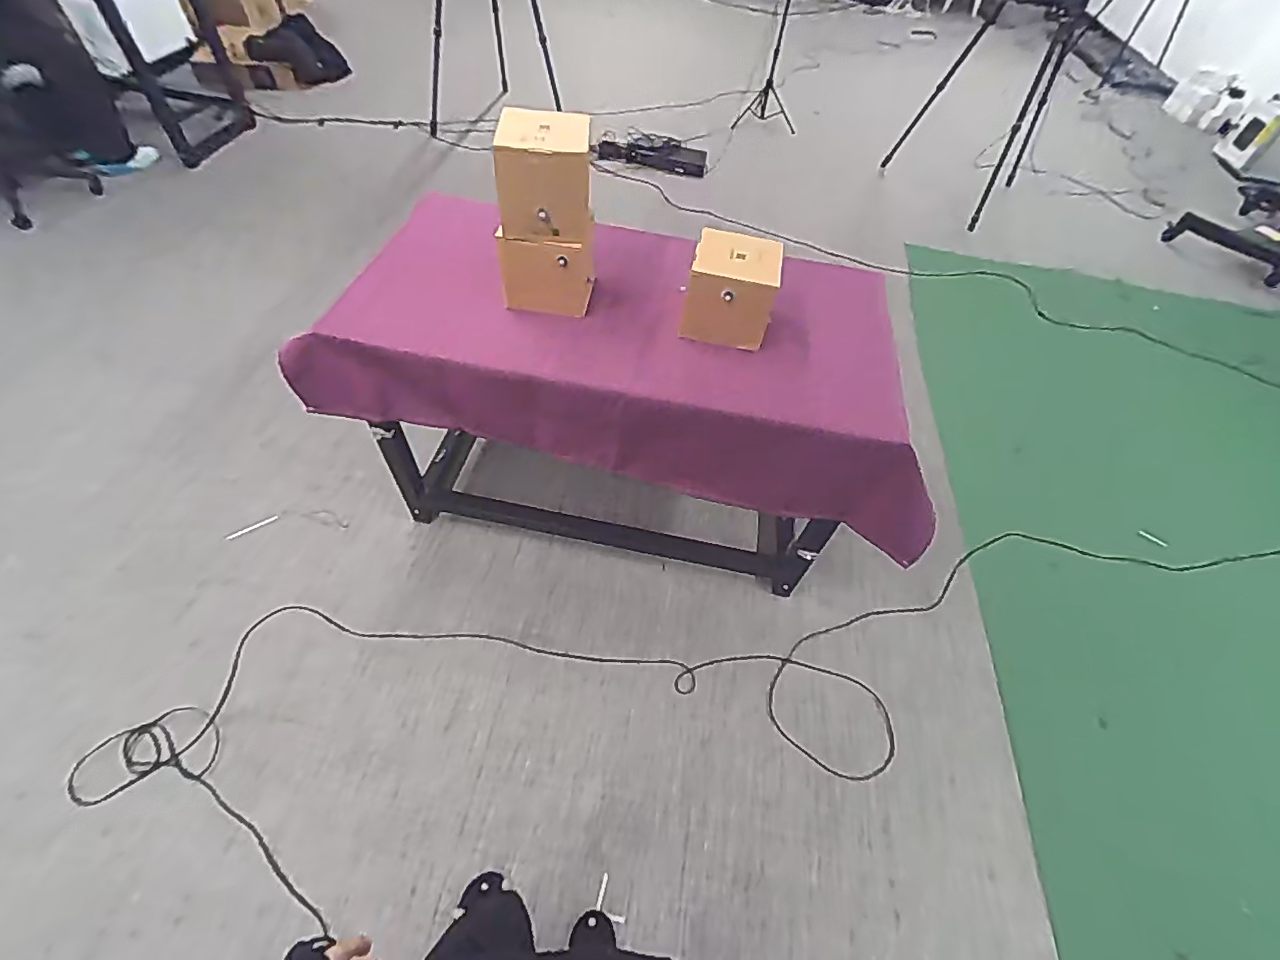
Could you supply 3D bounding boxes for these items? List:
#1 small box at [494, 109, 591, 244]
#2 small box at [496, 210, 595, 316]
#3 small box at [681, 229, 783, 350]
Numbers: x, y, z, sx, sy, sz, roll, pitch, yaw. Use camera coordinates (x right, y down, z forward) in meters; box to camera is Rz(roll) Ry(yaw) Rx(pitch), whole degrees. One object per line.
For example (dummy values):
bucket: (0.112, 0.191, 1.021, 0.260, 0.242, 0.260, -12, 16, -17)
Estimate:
small box: (-0.182, -0.586, 1.050, 0.168, 0.176, 0.179, 1, 53, -5)
small box: (-0.197, -0.478, 1.174, 0.179, 0.176, 0.168, 8, 53, -1)
small box: (0.192, -0.402, 1.154, 0.179, 0.176, 0.168, 13, 54, 3)
